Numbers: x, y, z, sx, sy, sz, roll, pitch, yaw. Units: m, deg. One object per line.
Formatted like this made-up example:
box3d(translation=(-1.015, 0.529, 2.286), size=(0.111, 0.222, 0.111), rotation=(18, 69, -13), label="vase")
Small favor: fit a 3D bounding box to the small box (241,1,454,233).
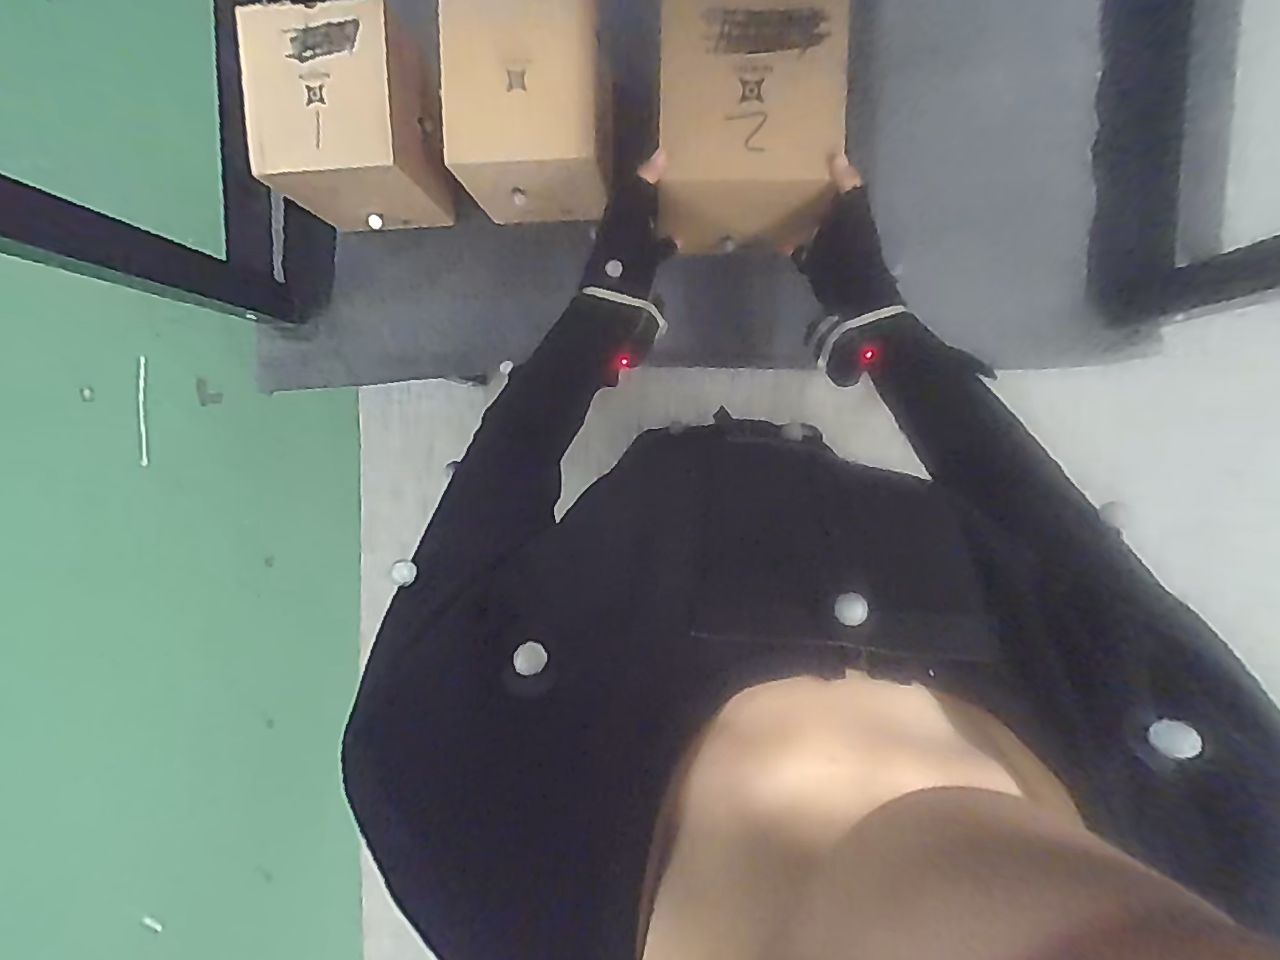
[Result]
box3d(translation=(-0.342, -0.426, 0.662), size=(0.168, 0.176, 0.179), rotation=(-1, 94, 5), label="small box")
